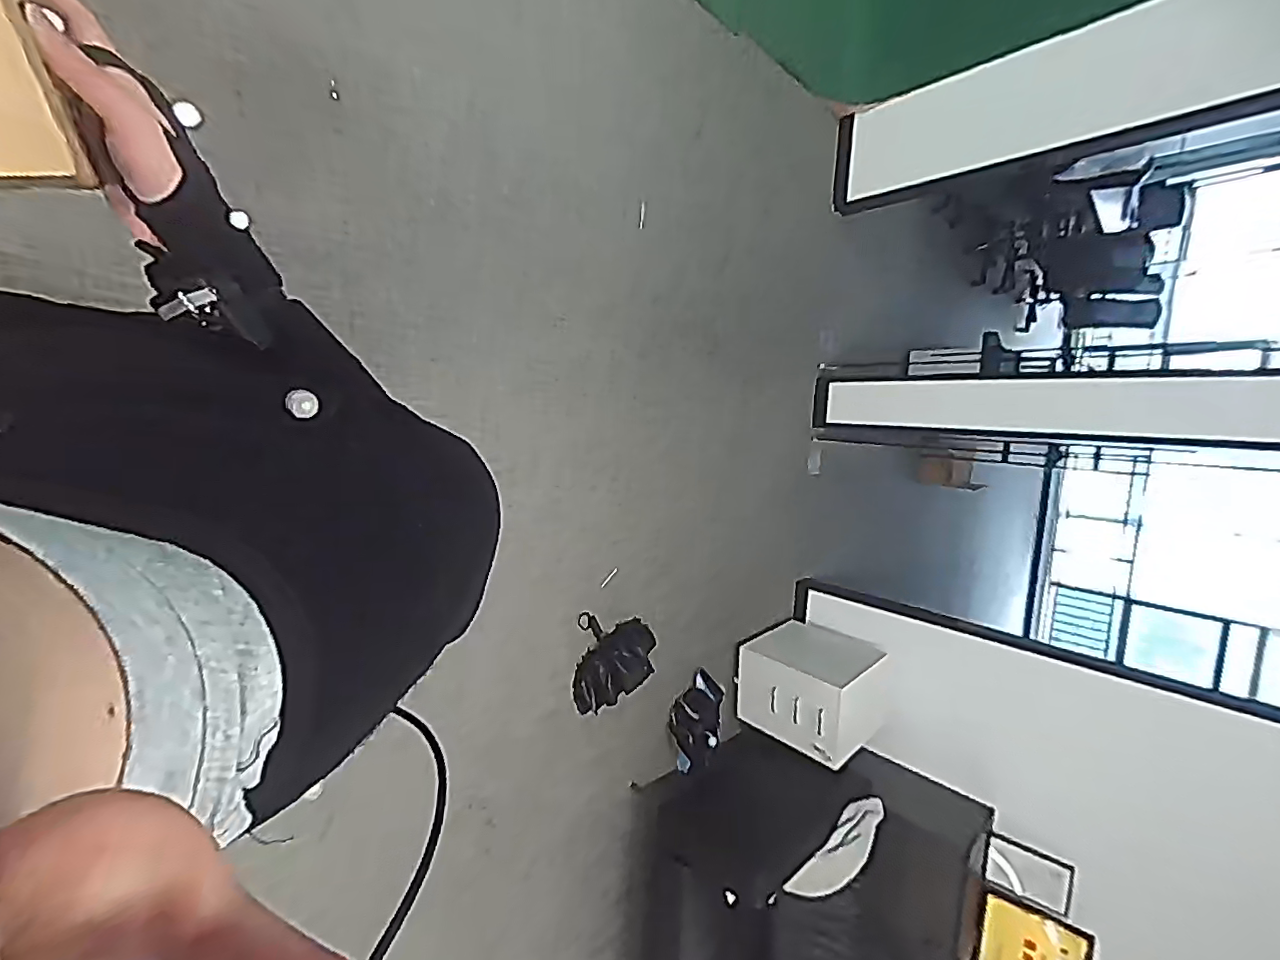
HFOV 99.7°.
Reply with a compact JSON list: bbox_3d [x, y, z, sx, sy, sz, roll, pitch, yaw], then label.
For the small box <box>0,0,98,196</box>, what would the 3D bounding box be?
[{"bbox_3d":[-0.407,-0.235,0.255,0.168,0.176,0.179,-22,124,-32],"label":"small box"}]
